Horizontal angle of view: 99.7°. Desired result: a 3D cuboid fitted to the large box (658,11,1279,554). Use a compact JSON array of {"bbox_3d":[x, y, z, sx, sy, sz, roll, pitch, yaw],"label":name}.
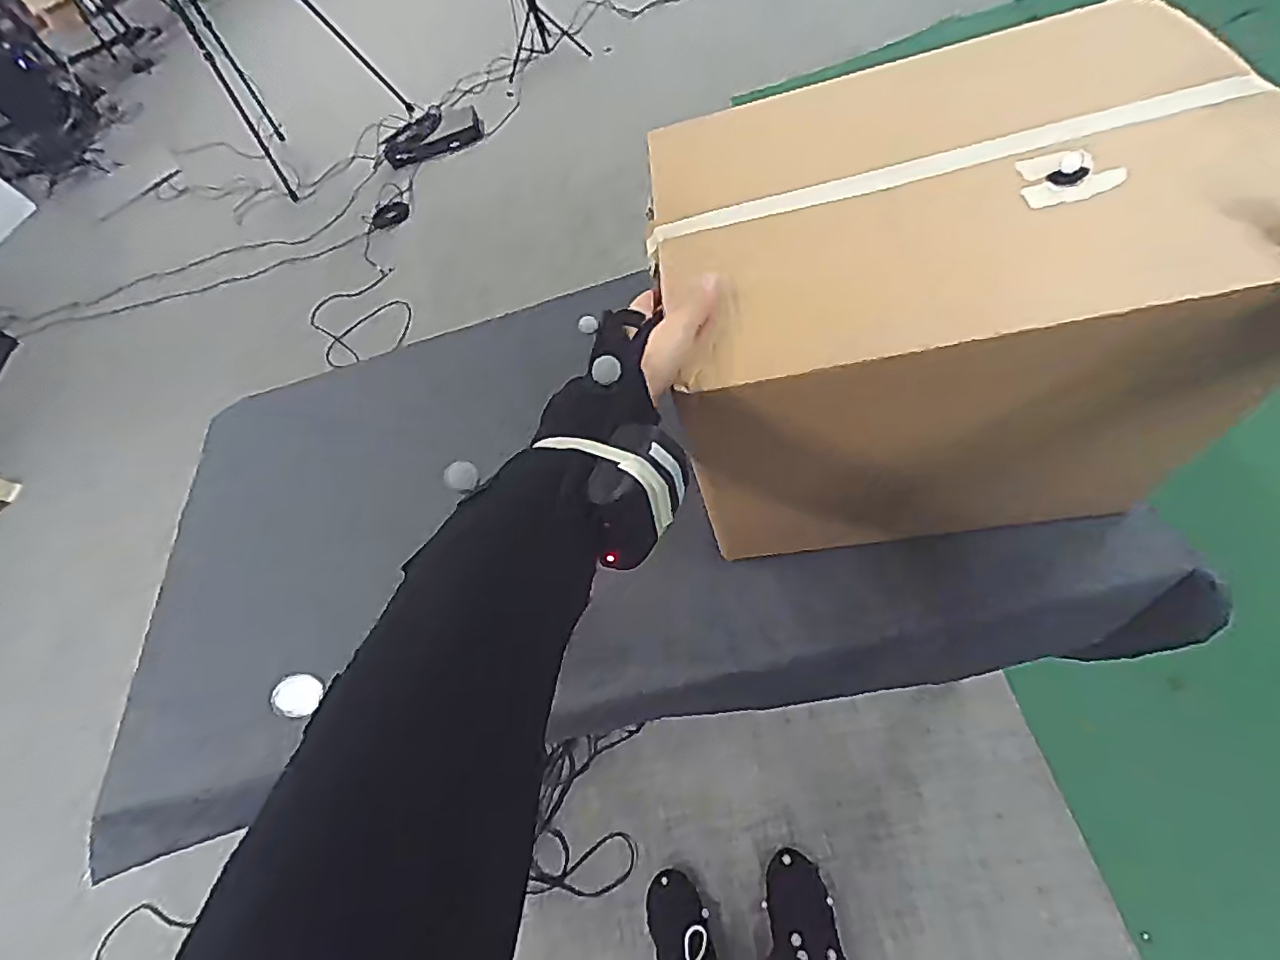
[{"bbox_3d":[0.248,-0.147,0.520,0.408,0.320,0.320,-8,60,10],"label":"large box"}]
